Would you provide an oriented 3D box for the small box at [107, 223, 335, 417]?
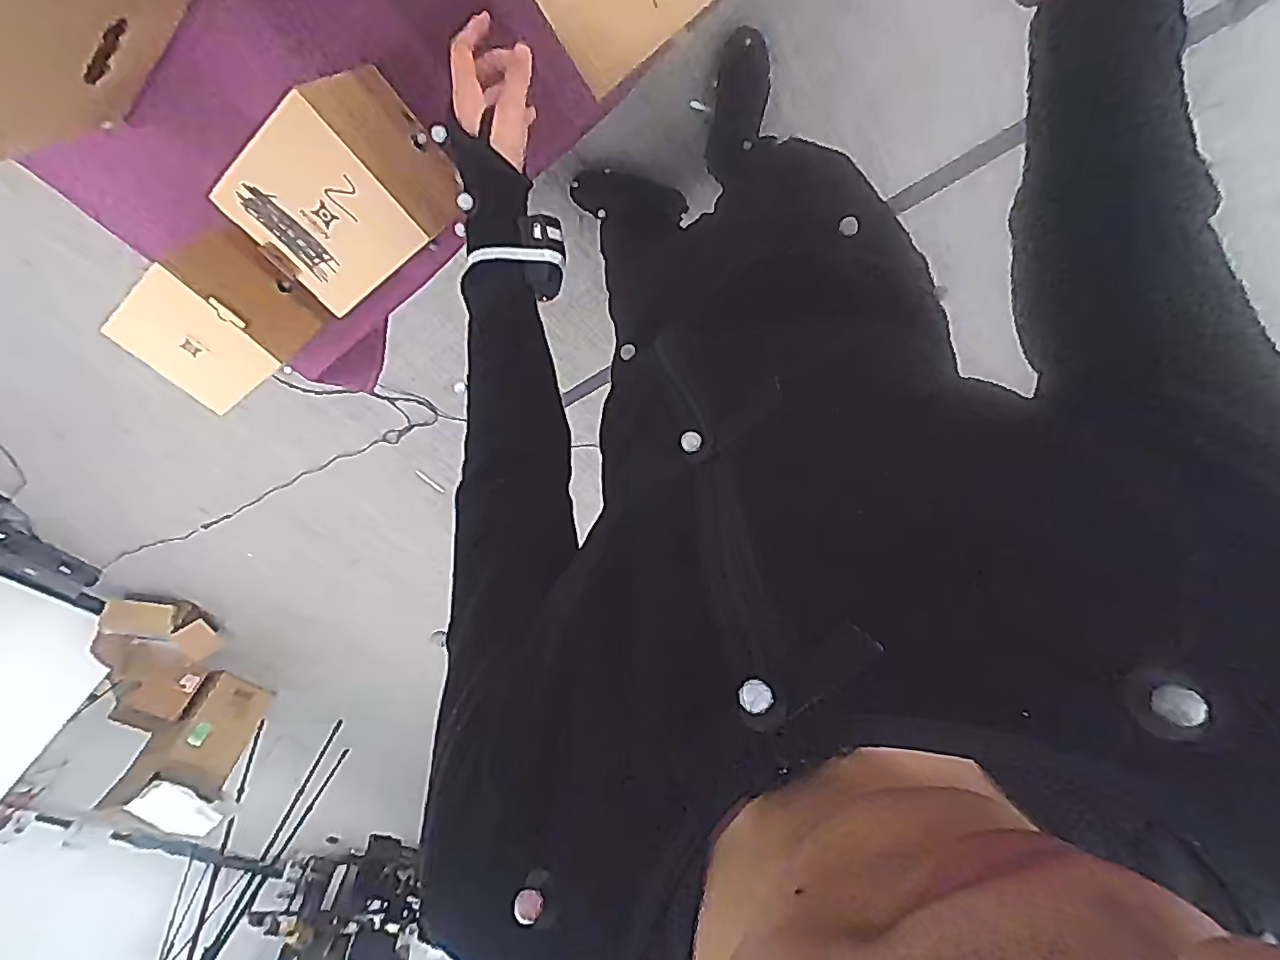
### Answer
[{"bbox_3d":[-0.582,-0.228,0.774,0.179,0.176,0.168,-24,126,26],"label":"small box"}]

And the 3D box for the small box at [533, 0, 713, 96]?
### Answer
[{"bbox_3d":[-0.016,-0.476,0.458,0.168,0.176,0.179,-23,127,27],"label":"small box"}]
